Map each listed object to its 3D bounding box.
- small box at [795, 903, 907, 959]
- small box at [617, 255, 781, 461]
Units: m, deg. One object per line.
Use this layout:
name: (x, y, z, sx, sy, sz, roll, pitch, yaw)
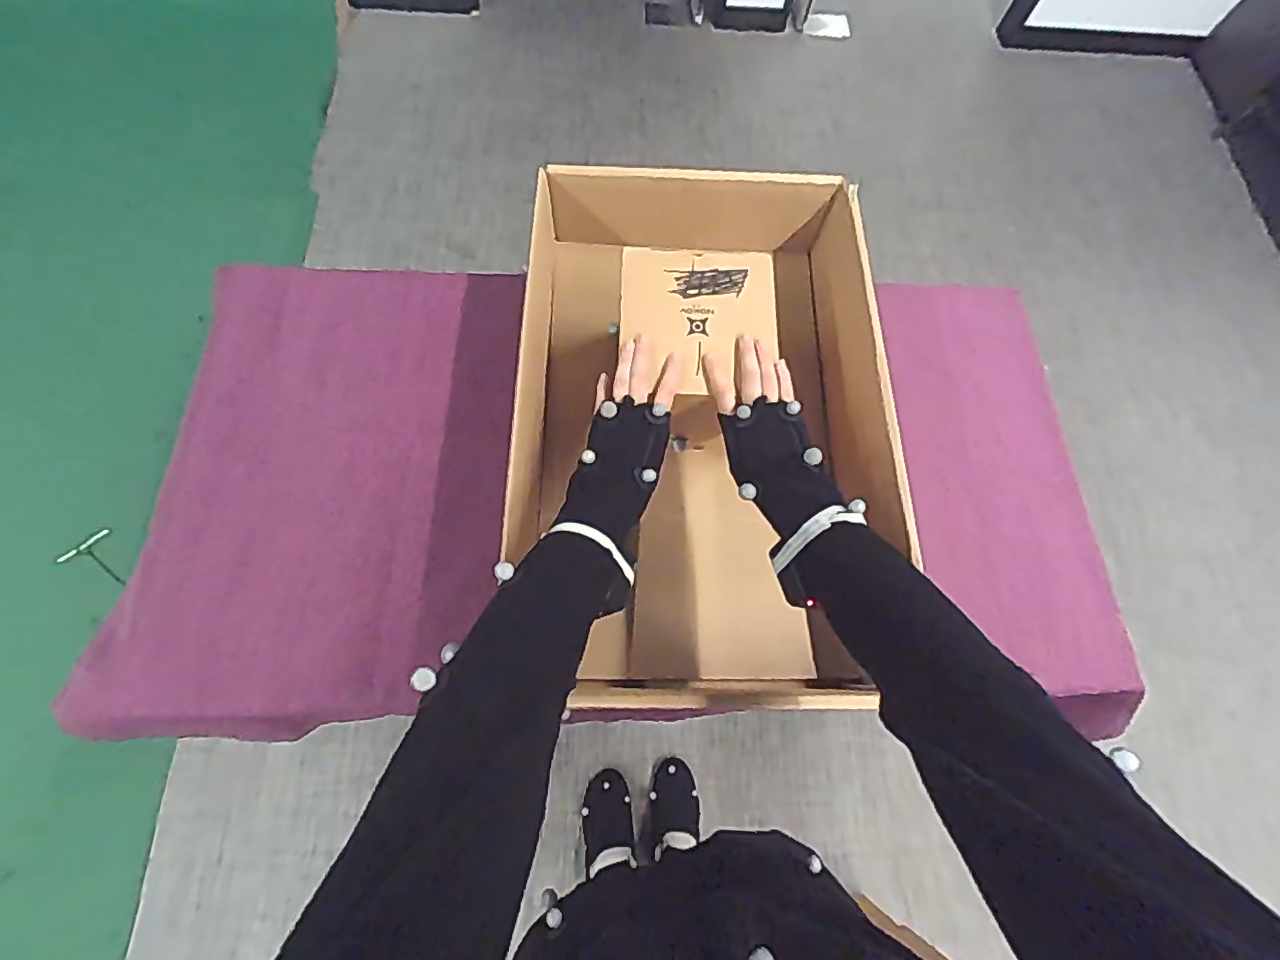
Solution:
small box: (0.425, 0.987, 1.086, 0.179, 0.176, 0.168, -4, 70, -6)
small box: (0.058, -0.135, 0.640, 0.168, 0.176, 0.179, 1, 73, -2)
